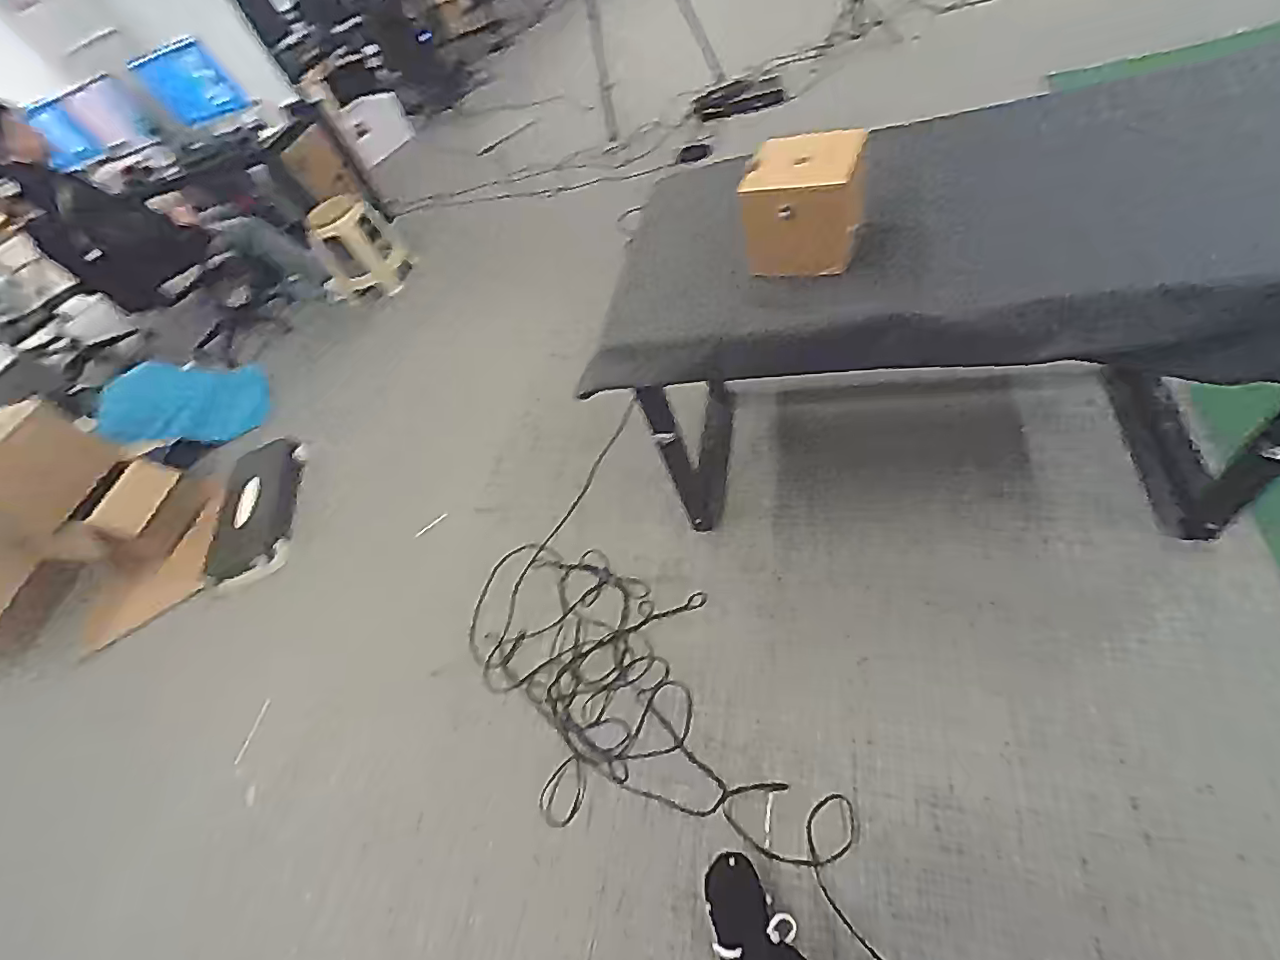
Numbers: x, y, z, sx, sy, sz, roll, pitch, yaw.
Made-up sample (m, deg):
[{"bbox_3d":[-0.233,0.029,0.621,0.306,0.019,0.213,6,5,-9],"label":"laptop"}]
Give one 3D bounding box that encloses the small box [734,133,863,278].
[{"bbox_3d":[0.285,-0.479,0.959,0.179,0.176,0.168,11,60,26],"label":"small box"}]
